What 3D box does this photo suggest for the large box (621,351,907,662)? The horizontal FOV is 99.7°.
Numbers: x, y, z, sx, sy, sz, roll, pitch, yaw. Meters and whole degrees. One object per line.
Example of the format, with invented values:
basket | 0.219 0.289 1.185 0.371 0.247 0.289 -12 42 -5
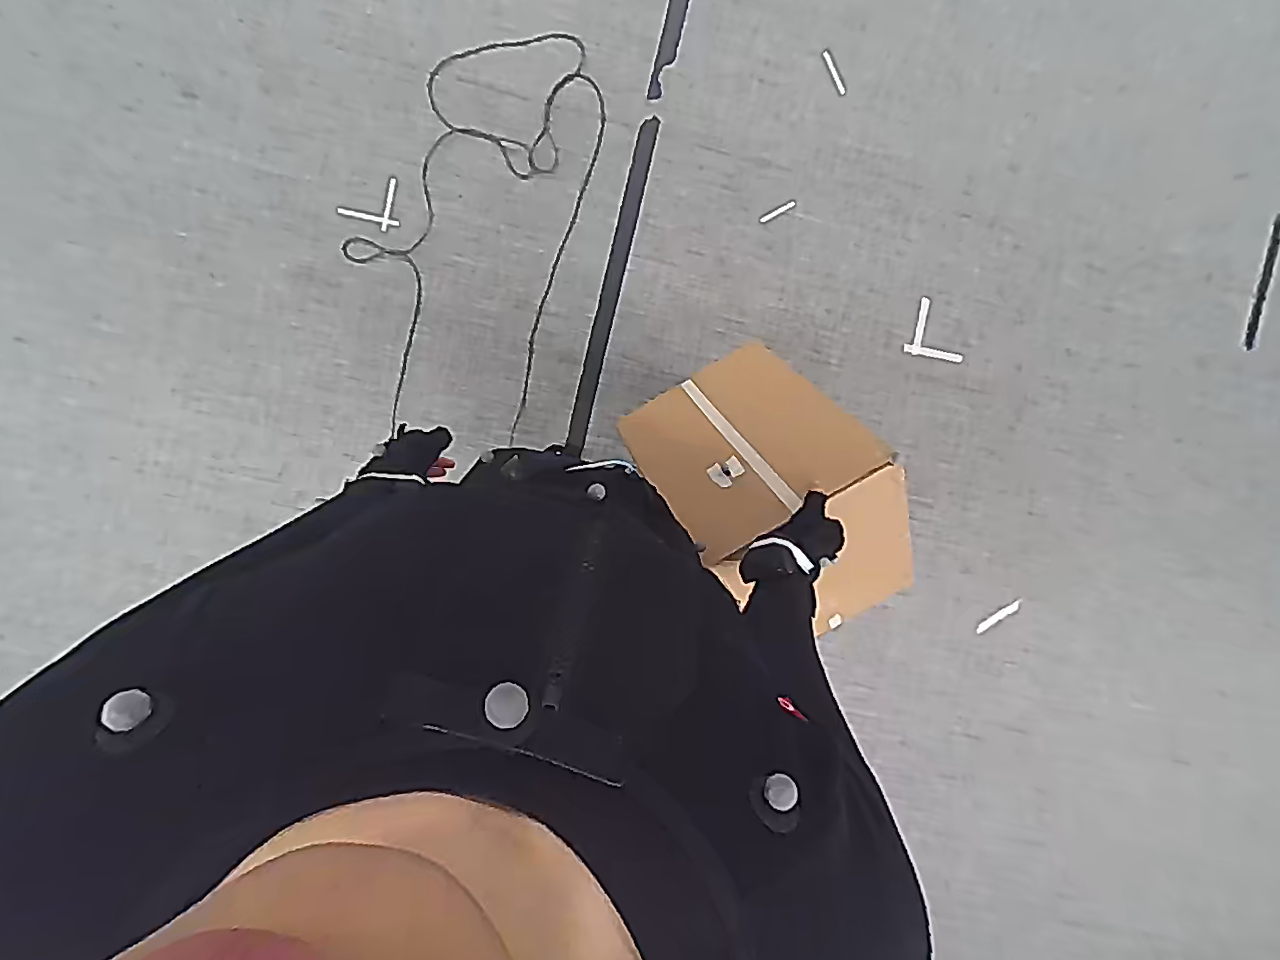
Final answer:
large box | 0.213 0.036 0.979 0.320 0.408 0.320 -30 131 1
